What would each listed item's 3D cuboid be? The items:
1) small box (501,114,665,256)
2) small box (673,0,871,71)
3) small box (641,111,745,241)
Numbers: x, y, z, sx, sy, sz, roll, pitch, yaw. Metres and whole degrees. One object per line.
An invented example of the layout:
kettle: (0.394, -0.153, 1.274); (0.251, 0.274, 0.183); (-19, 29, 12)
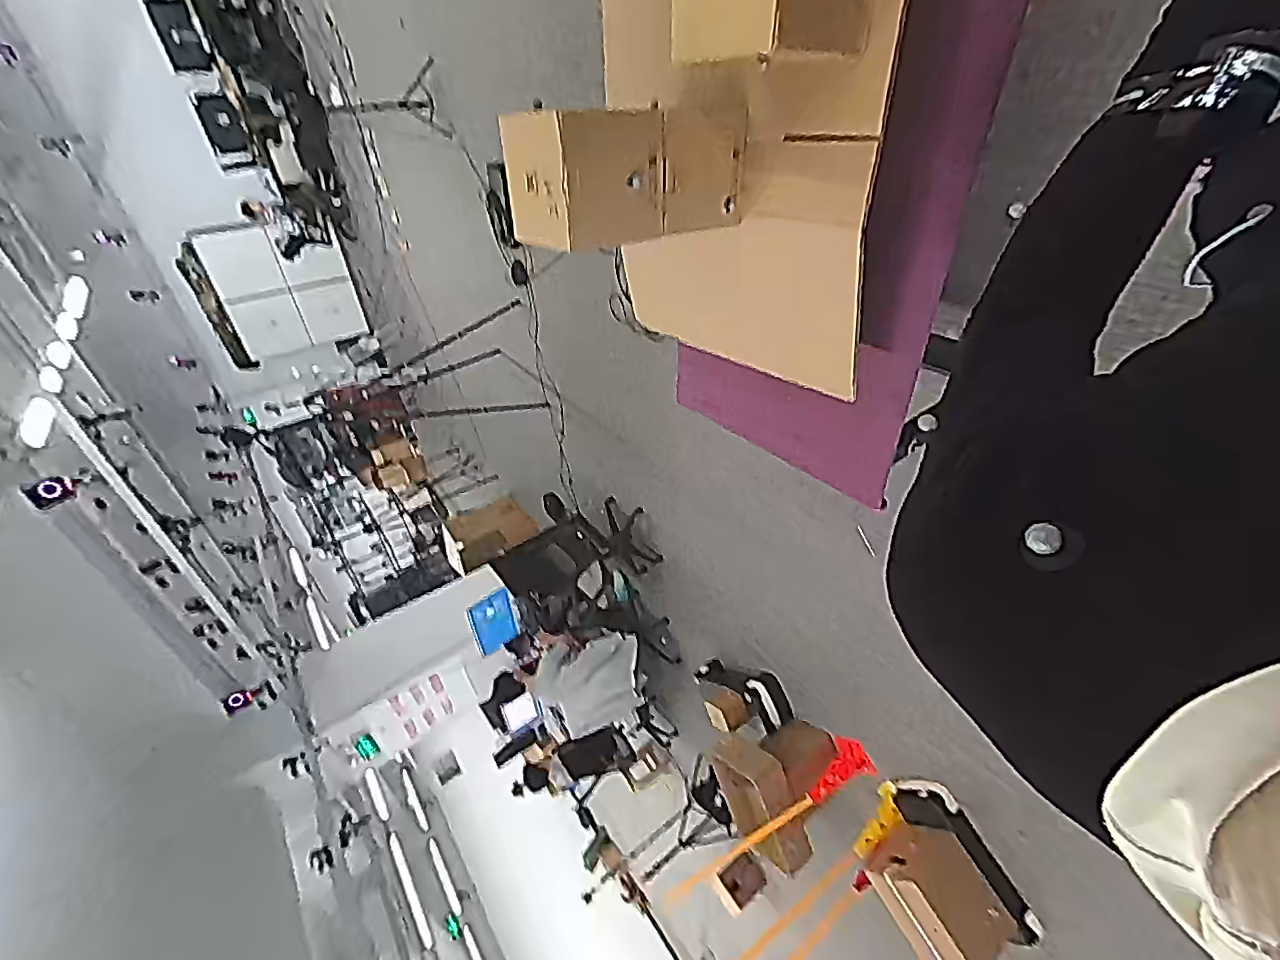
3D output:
small box: (-0.082, -0.442, 0.803); (0.179, 0.176, 0.168); (34, 137, 42)
small box: (0.158, -0.598, 0.643); (0.179, 0.176, 0.168); (34, 138, 42)
small box: (0.051, -0.499, 0.882); (0.179, 0.176, 0.168); (35, 138, 43)
